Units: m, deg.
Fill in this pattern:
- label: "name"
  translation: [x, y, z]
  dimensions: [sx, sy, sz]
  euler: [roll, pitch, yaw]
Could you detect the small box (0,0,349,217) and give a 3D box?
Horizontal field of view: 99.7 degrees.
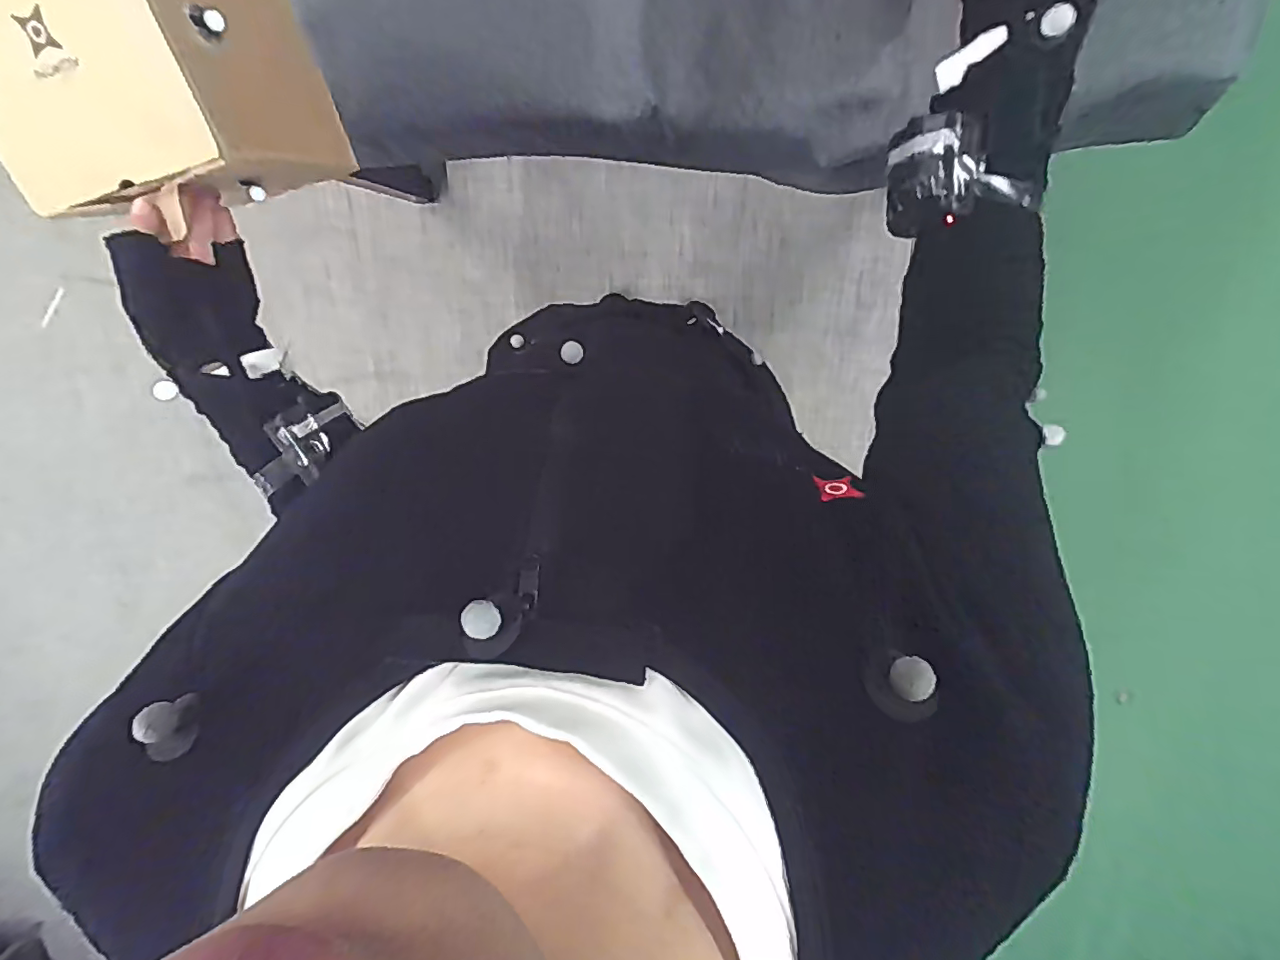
- label: "small box"
  translation: [-0.362, -0.313, 0.404]
  dimensions: [0.168, 0.176, 0.179]
  euler: [-10, 116, 11]
